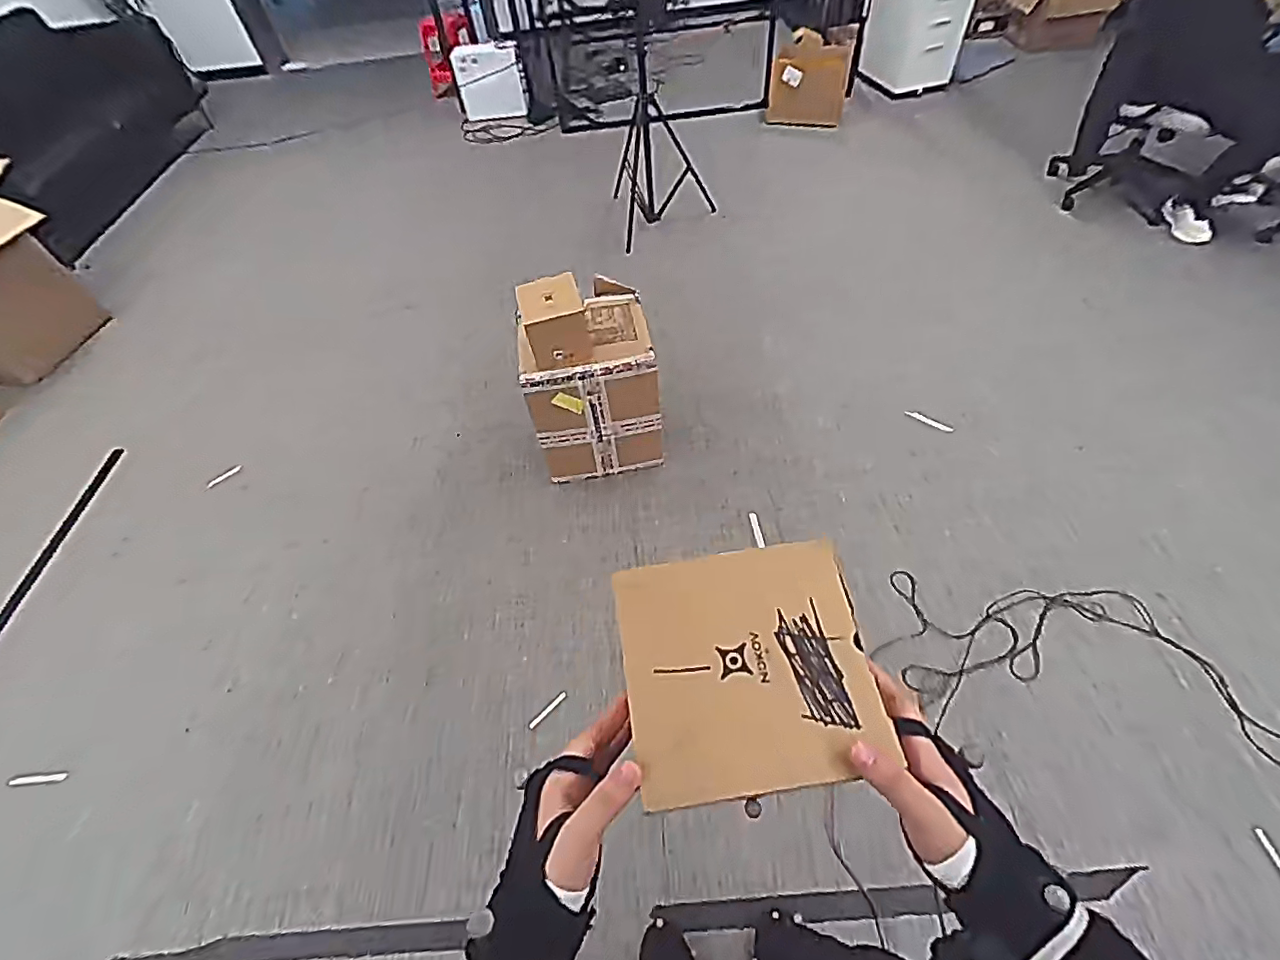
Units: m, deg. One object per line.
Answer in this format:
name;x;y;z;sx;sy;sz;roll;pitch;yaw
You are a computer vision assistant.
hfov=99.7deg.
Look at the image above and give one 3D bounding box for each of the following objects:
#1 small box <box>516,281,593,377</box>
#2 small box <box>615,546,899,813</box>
small box;-0.237;-0.422;1.521;0.168;0.176;0.179;-16;57;-5
small box;0.079;0.172;0.459;0.179;0.176;0.168;-9;59;-1
